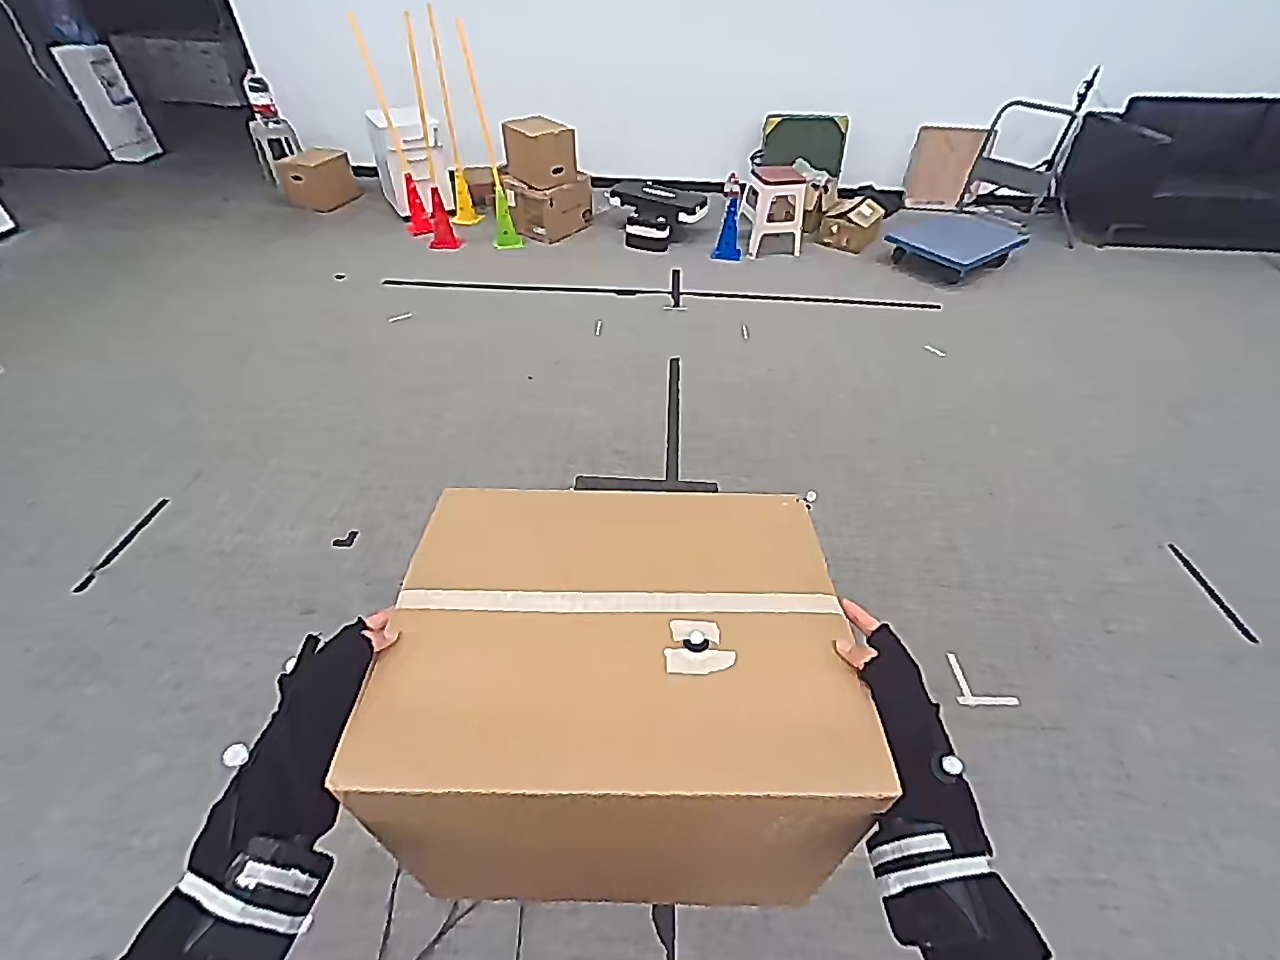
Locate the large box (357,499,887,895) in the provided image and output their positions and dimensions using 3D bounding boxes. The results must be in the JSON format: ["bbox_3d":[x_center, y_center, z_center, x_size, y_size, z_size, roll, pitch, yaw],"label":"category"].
[{"bbox_3d":[-0.016,0.236,0.606,0.408,0.320,0.320,1,41,0],"label":"large box"}]
